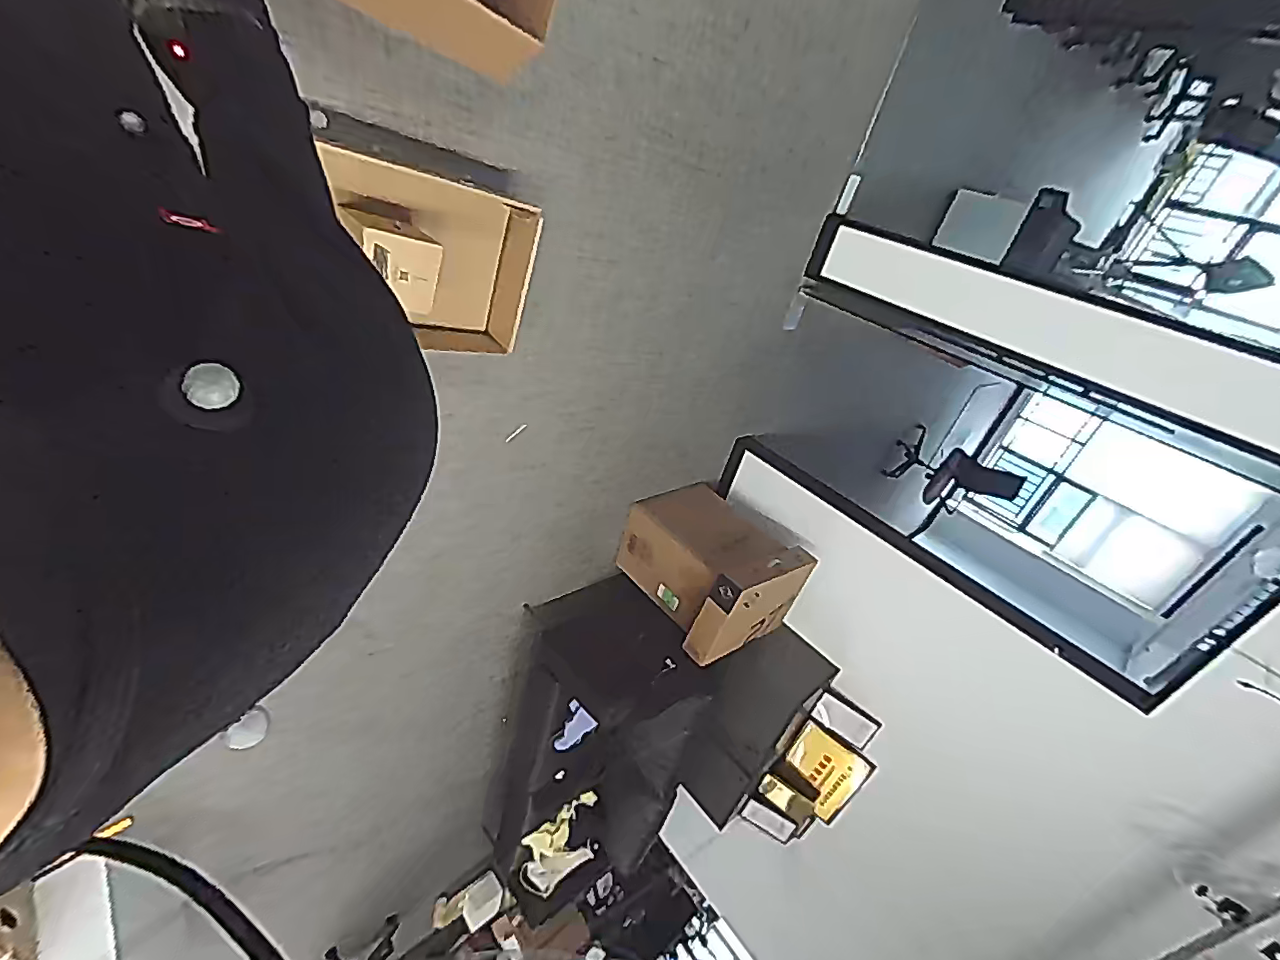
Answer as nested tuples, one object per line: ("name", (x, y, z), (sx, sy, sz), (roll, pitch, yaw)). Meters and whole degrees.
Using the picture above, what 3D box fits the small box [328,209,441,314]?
("small box", (-0.589, -0.500, 1.236), (0.179, 0.176, 0.168), (-8, 129, -49))
